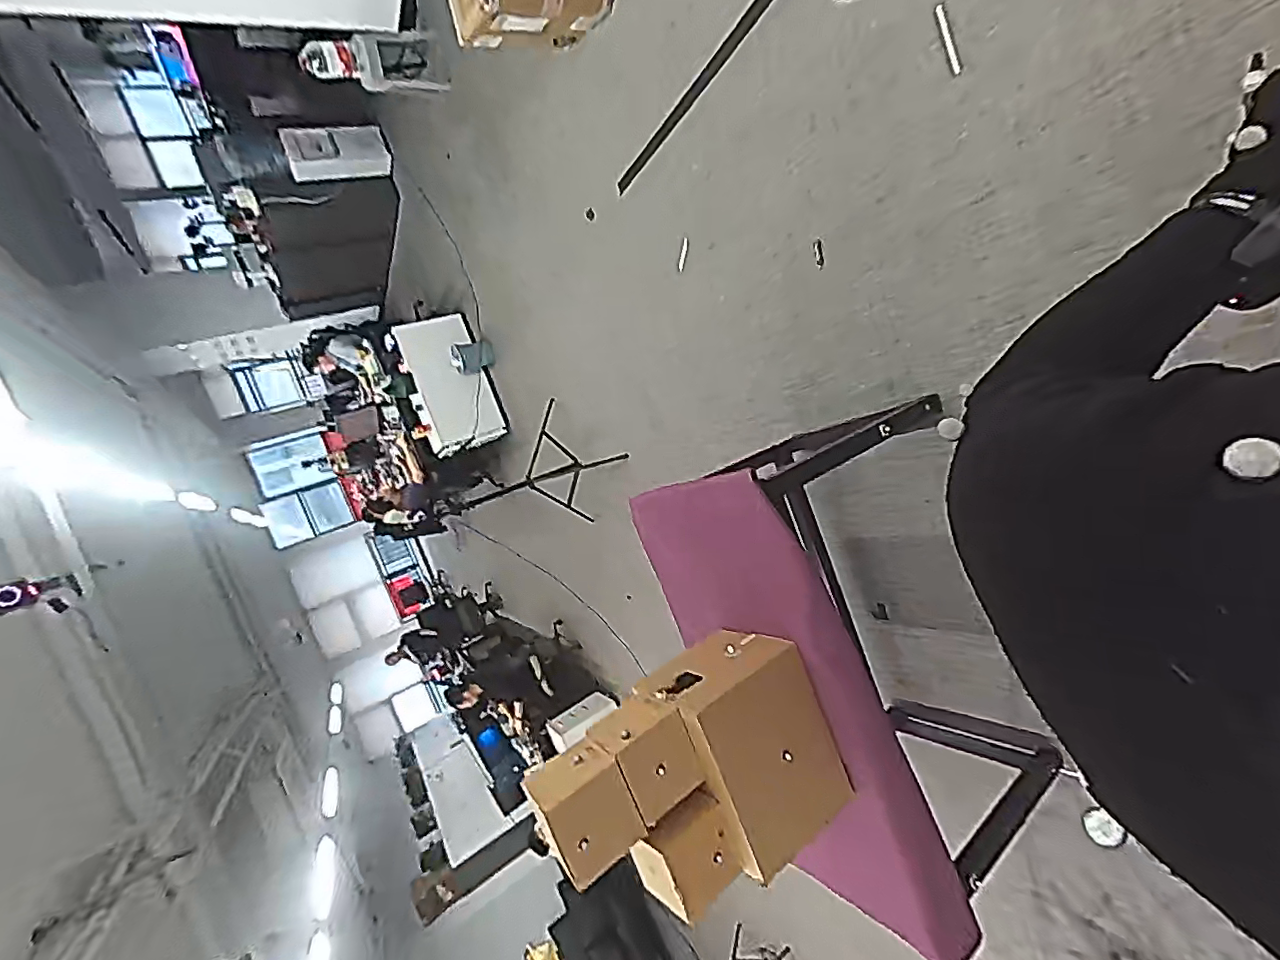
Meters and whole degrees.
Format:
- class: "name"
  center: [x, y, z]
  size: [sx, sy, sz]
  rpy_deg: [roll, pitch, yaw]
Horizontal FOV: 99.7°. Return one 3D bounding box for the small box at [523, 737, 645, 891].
- class: "small box"
  center: [-0.114, 0.679, 1.123]
  size: [0.168, 0.176, 0.179]
  rpy_deg: [-13, 100, 62]
